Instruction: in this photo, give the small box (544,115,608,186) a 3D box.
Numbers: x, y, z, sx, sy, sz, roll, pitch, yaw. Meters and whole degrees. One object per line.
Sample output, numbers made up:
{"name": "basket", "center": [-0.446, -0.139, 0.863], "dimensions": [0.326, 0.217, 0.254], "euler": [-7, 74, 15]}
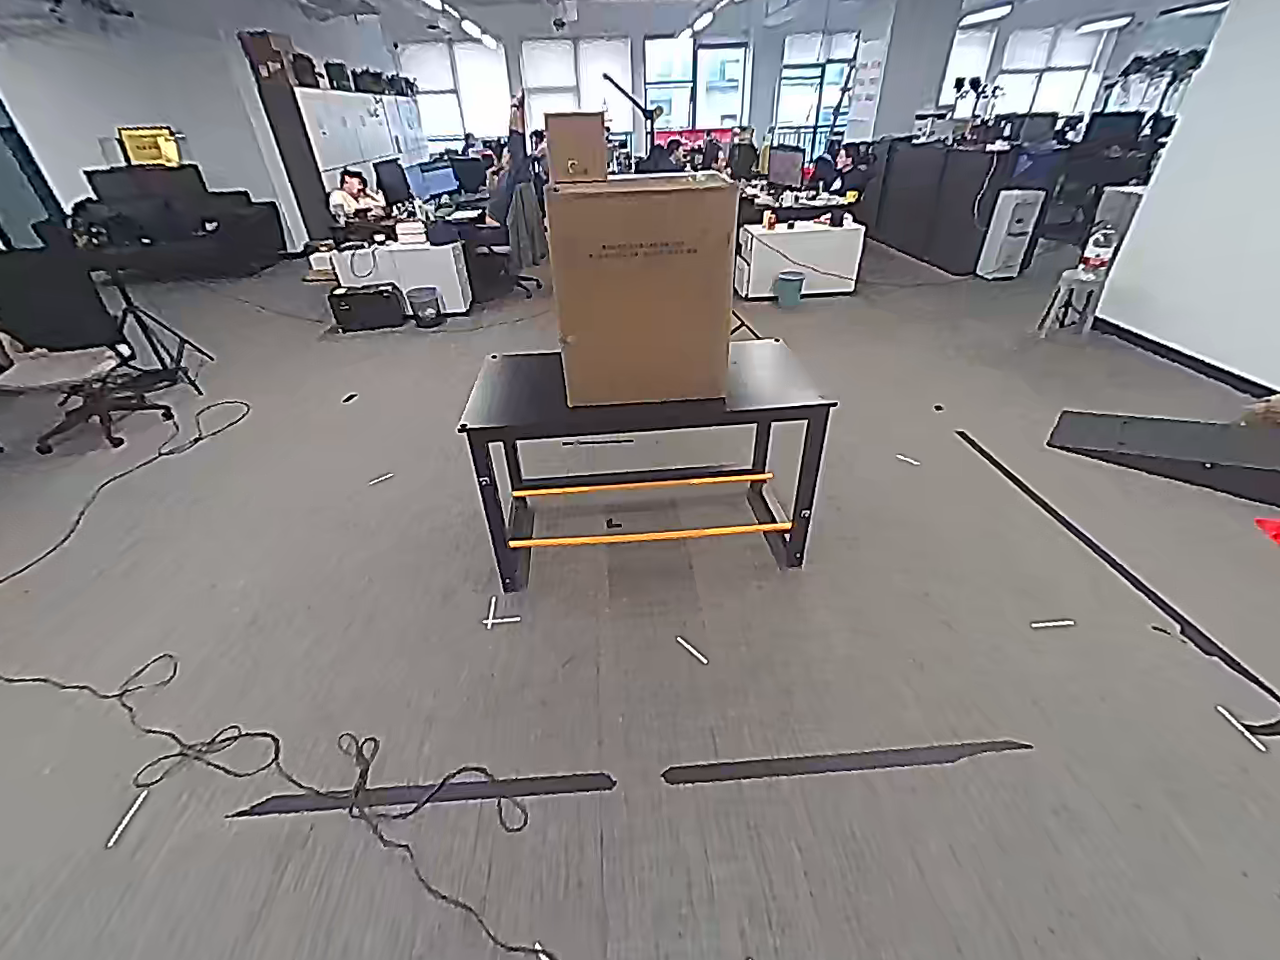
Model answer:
{"name": "small box", "center": [-0.185, -0.952, 1.564], "dimensions": [0.168, 0.176, 0.179], "euler": [-7, 34, -6]}
